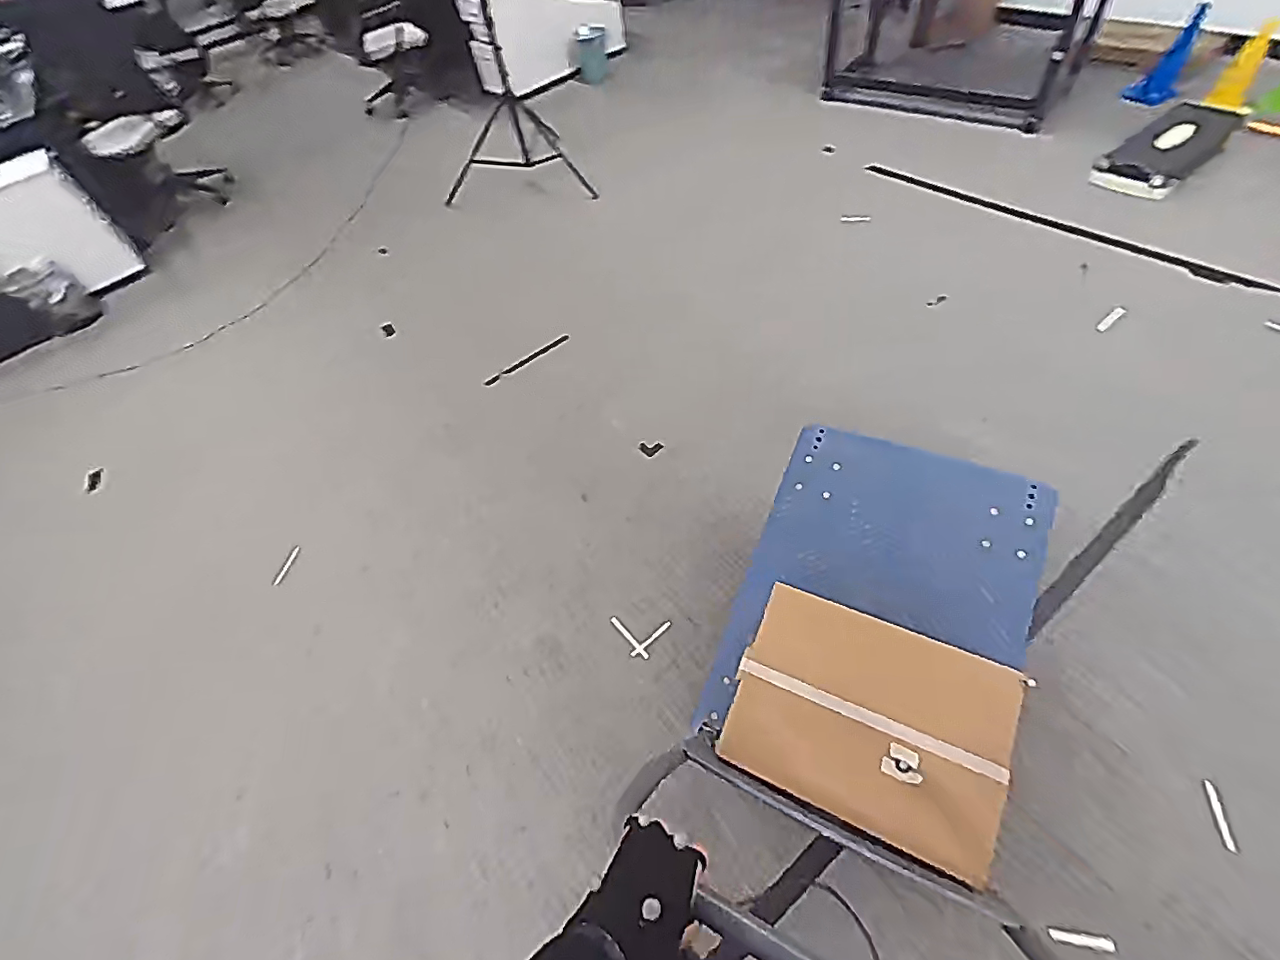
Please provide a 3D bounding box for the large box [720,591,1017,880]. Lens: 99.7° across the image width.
[{"bbox_3d":[0.397,0.446,1.015,0.408,0.320,0.320,18,73,20],"label":"large box"}]
